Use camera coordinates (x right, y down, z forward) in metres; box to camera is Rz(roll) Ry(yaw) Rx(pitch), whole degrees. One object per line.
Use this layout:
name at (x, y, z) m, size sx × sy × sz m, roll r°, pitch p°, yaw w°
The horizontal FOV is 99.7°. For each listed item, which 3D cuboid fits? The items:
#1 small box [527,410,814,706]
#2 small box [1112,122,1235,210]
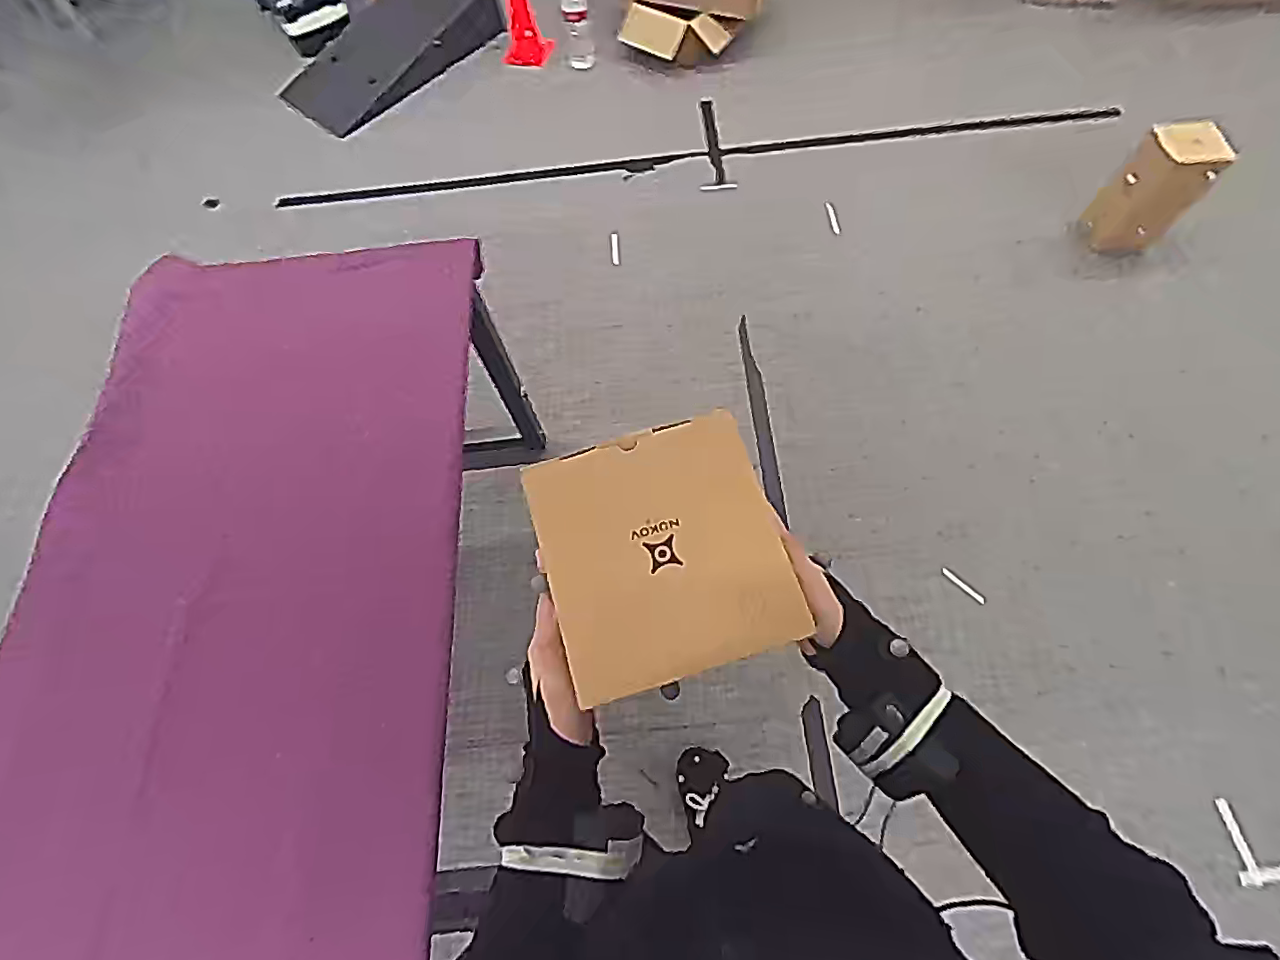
small box at (0.020, 0.071, 0.456) m, size 0.168 × 0.176 × 0.179 m, roll -17°, pitch 72°, yaw -4°
small box at (1.606, -0.947, 1.641) m, size 0.179 × 0.176 × 0.168 m, roll -2°, pitch 65°, yaw 3°
